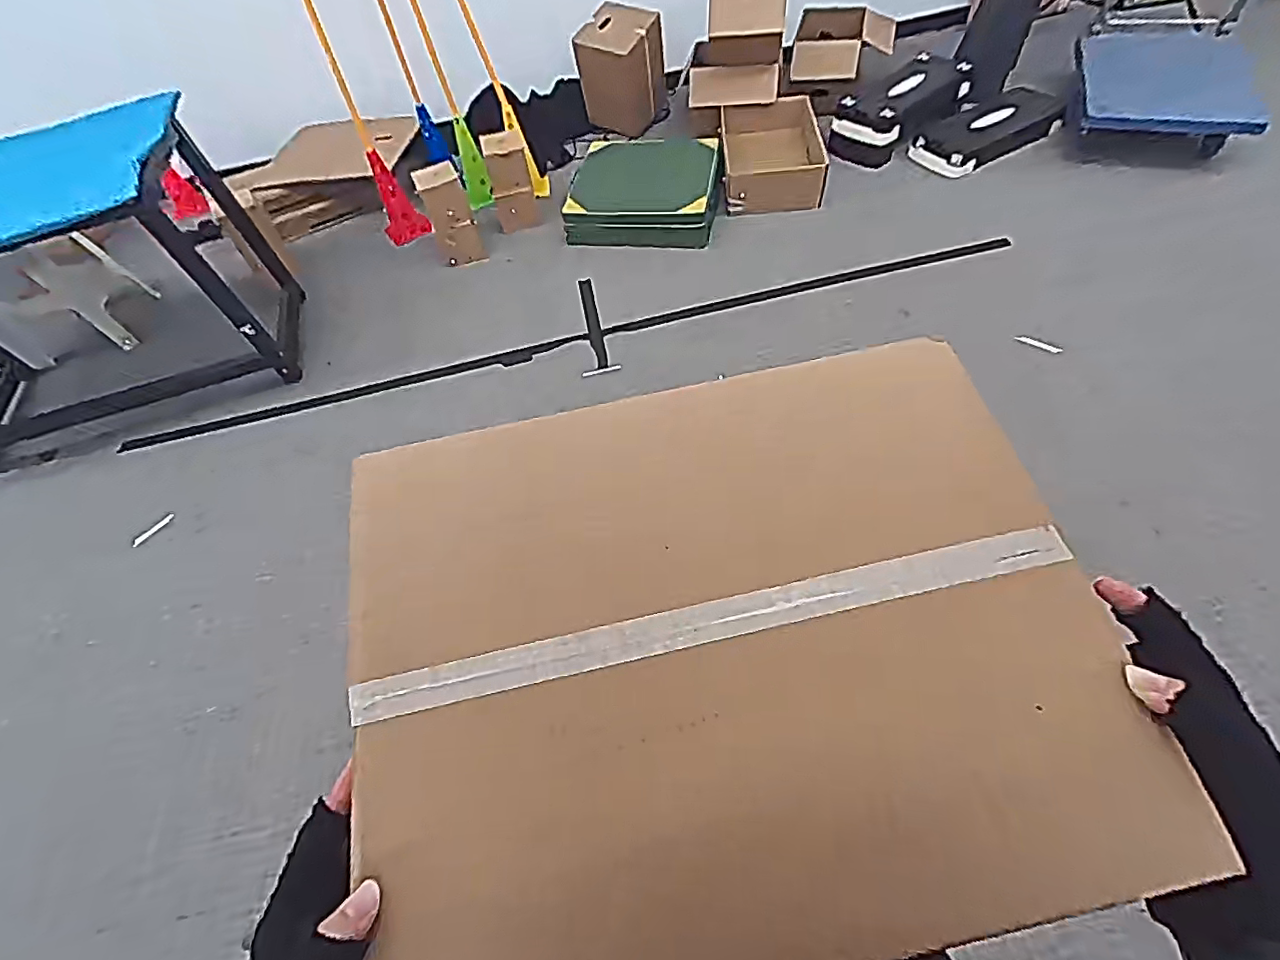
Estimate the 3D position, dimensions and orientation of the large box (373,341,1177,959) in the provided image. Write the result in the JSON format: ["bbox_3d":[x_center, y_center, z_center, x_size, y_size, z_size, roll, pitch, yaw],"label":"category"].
[{"bbox_3d":[0.049,0.140,0.453,0.408,0.320,0.320,-13,66,-2],"label":"large box"}]
